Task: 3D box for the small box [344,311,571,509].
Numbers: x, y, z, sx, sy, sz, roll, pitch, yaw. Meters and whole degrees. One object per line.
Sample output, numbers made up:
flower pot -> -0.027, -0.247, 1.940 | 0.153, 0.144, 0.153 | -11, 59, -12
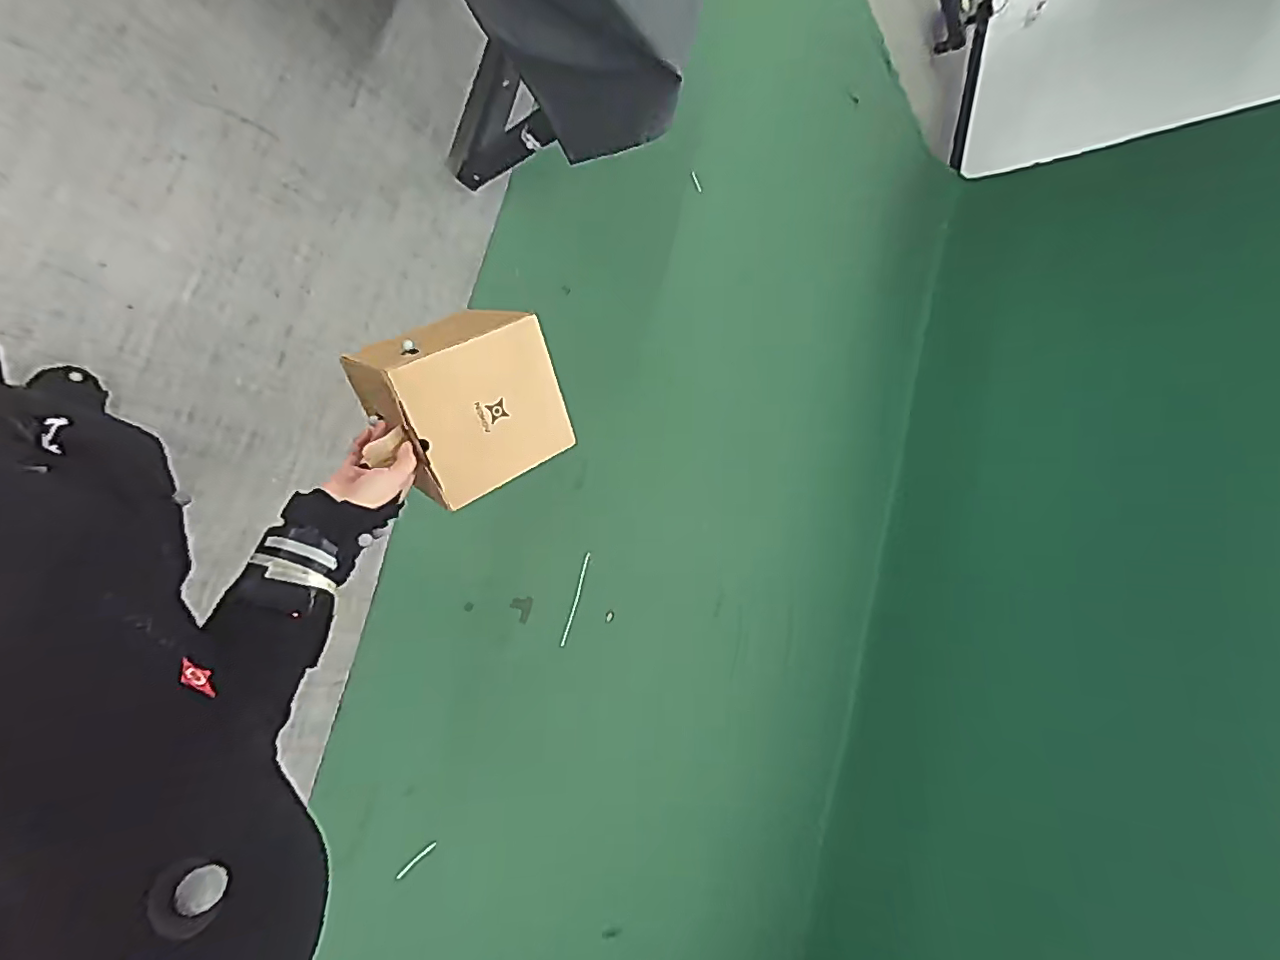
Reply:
small box -> -0.216, -0.097, 0.648 | 0.179, 0.176, 0.168 | -33, 125, -29
